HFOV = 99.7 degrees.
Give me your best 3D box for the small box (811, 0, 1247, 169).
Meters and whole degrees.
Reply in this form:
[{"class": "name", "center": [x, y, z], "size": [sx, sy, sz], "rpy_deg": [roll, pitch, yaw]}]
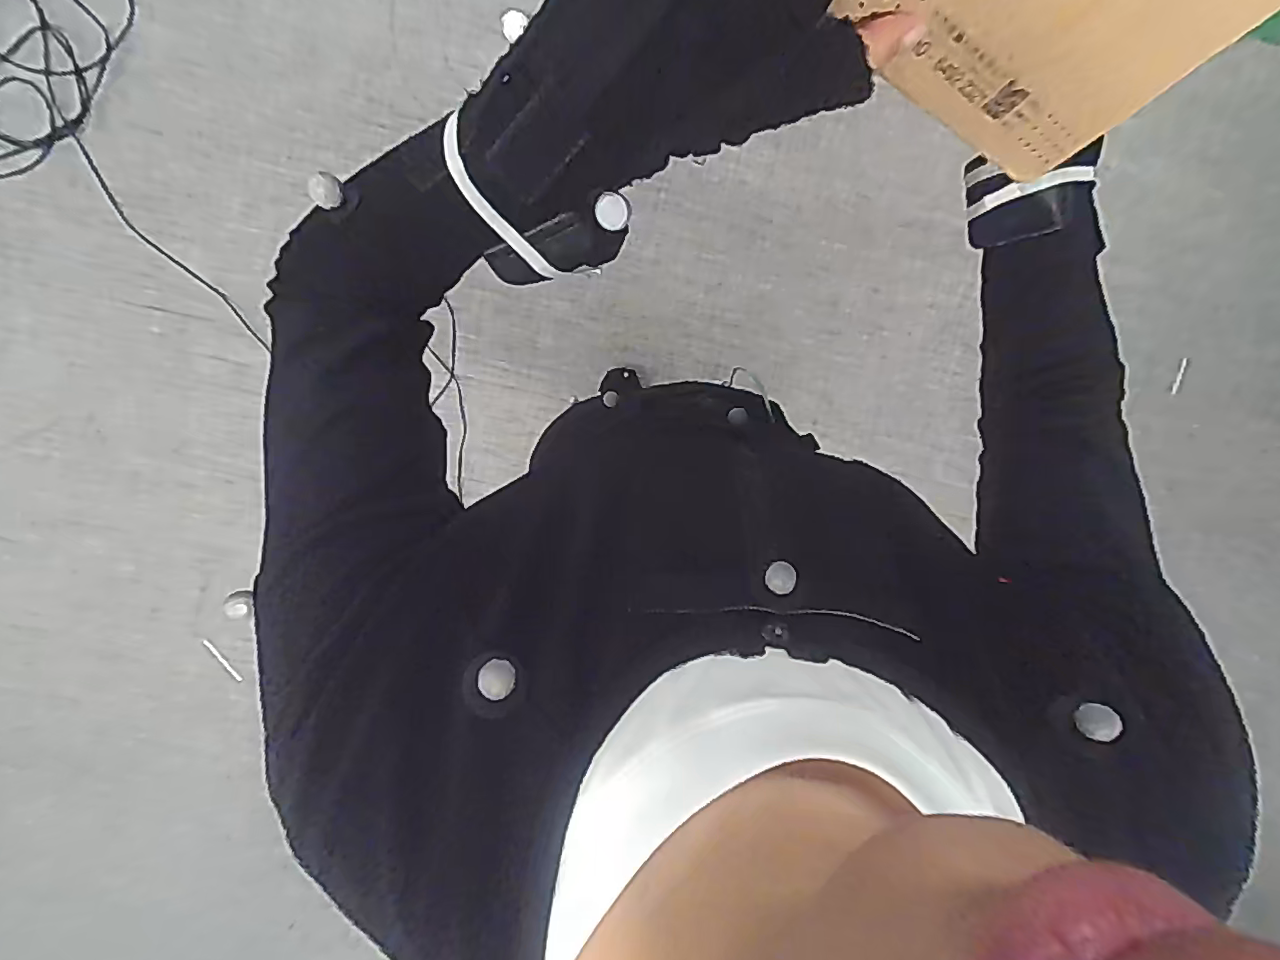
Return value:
[{"class": "small box", "center": [0.170, -0.283, 0.223], "size": [0.168, 0.176, 0.179], "rpy_deg": [10, 67, -29]}]
